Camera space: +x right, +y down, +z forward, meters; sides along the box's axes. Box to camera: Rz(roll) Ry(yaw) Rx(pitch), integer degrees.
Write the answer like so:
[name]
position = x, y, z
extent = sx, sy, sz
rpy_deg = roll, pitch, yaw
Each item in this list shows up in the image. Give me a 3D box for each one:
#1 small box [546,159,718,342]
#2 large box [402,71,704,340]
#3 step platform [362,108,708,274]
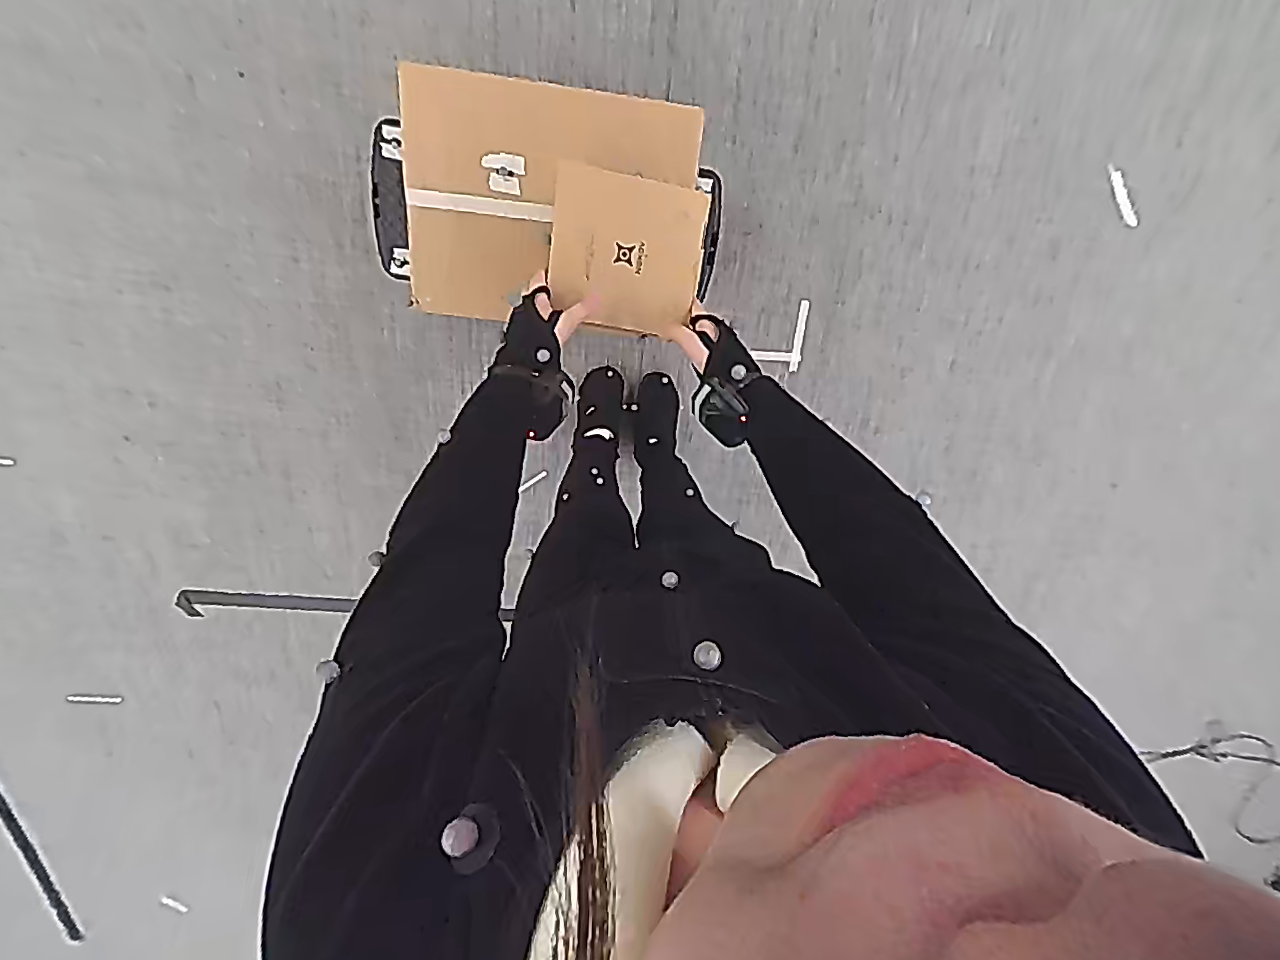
[small box]
position = -0.021, -0.273, 0.684
extent = 0.179, 0.176, 0.168
rpy_deg = 7, 102, -11
[large box]
position = -0.128, -0.433, 0.901
extent = 0.408, 0.320, 0.320
rpy_deg = 5, 113, -5
[step platform]
position = -0.196, -0.519, 1.120
extent = 0.684, 0.204, 0.286
rpy_deg = 10, 113, -7
